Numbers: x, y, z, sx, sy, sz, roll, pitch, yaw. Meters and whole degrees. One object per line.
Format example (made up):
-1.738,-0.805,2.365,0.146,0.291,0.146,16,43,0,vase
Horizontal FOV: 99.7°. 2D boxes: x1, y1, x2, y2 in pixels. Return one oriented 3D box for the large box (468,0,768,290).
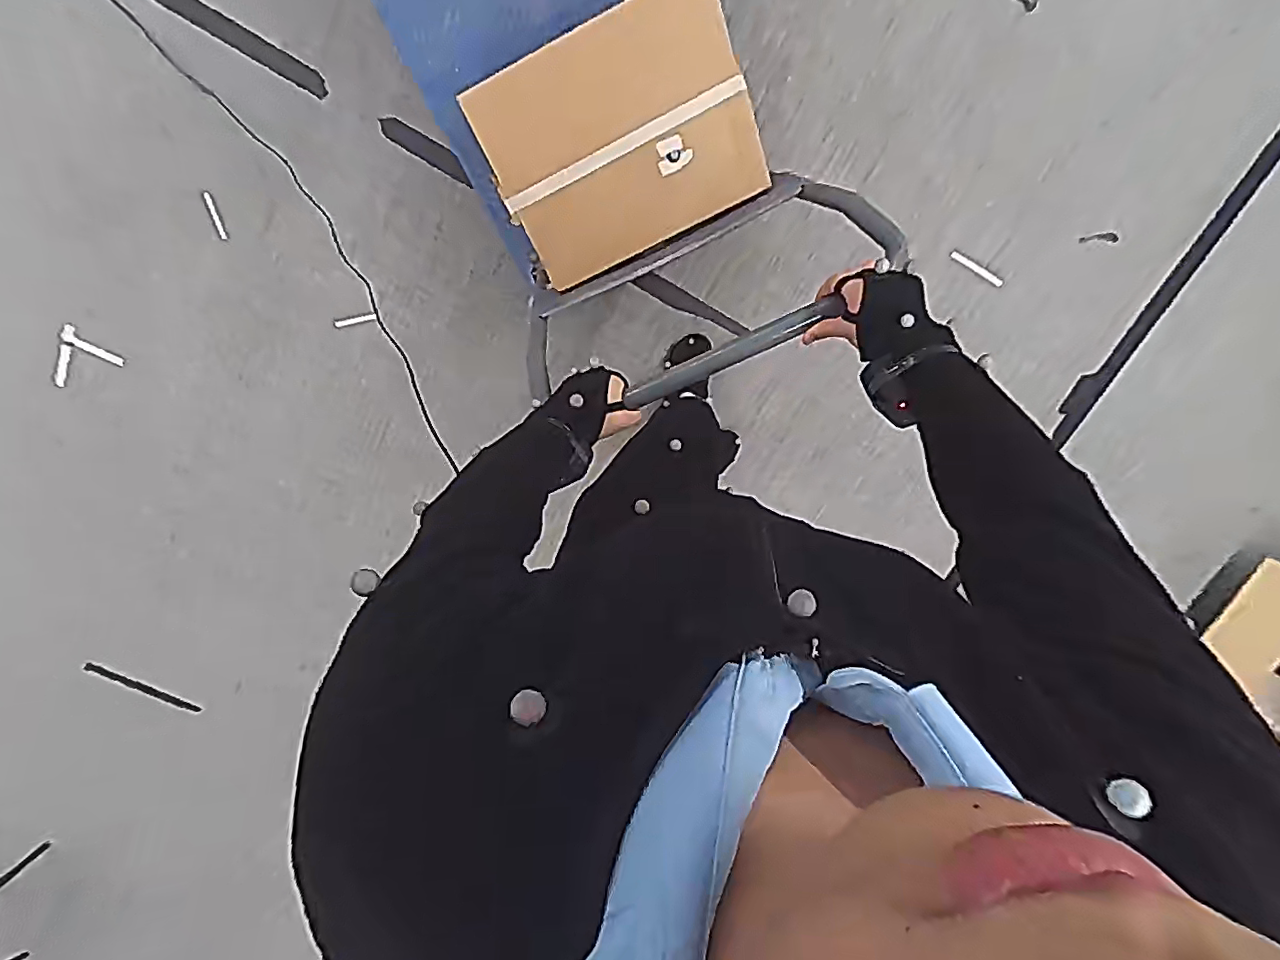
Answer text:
-0.040,-0.607,0.993,0.408,0.320,0.320,-25,120,7,large box
